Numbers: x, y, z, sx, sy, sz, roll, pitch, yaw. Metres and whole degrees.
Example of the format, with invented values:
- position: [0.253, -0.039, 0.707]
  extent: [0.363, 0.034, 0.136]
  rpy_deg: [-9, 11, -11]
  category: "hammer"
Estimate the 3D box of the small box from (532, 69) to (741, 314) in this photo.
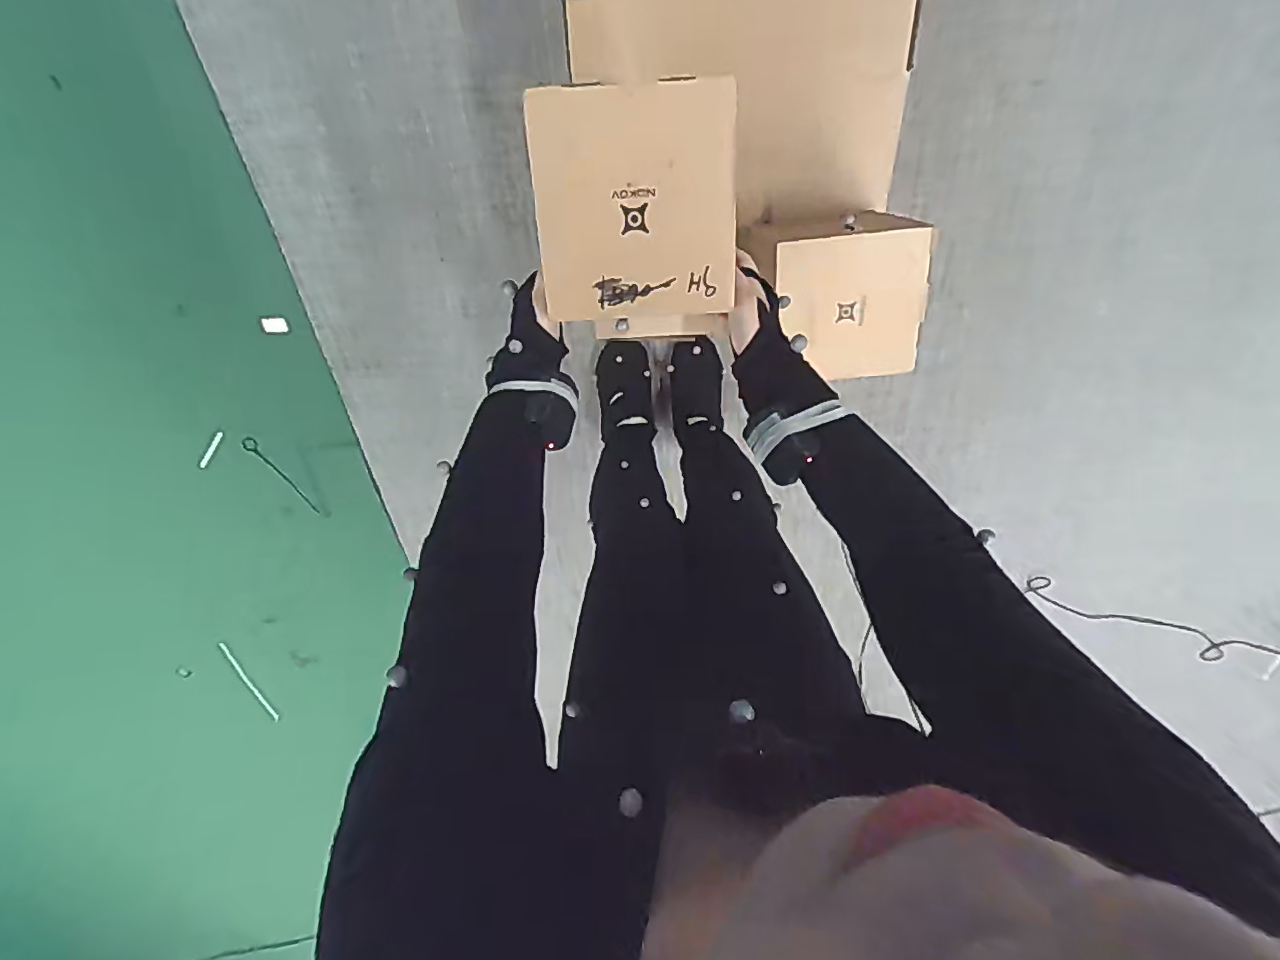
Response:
- position: [0.000, -0.257, 0.519]
  extent: [0.168, 0.176, 0.179]
  rpy_deg: [-3, 111, 2]
  category: "small box"

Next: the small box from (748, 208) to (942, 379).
- position: [0.242, -0.241, 0.685]
  extent: [0.179, 0.176, 0.168]
  rpy_deg: [-5, 121, 2]
  category: "small box"
